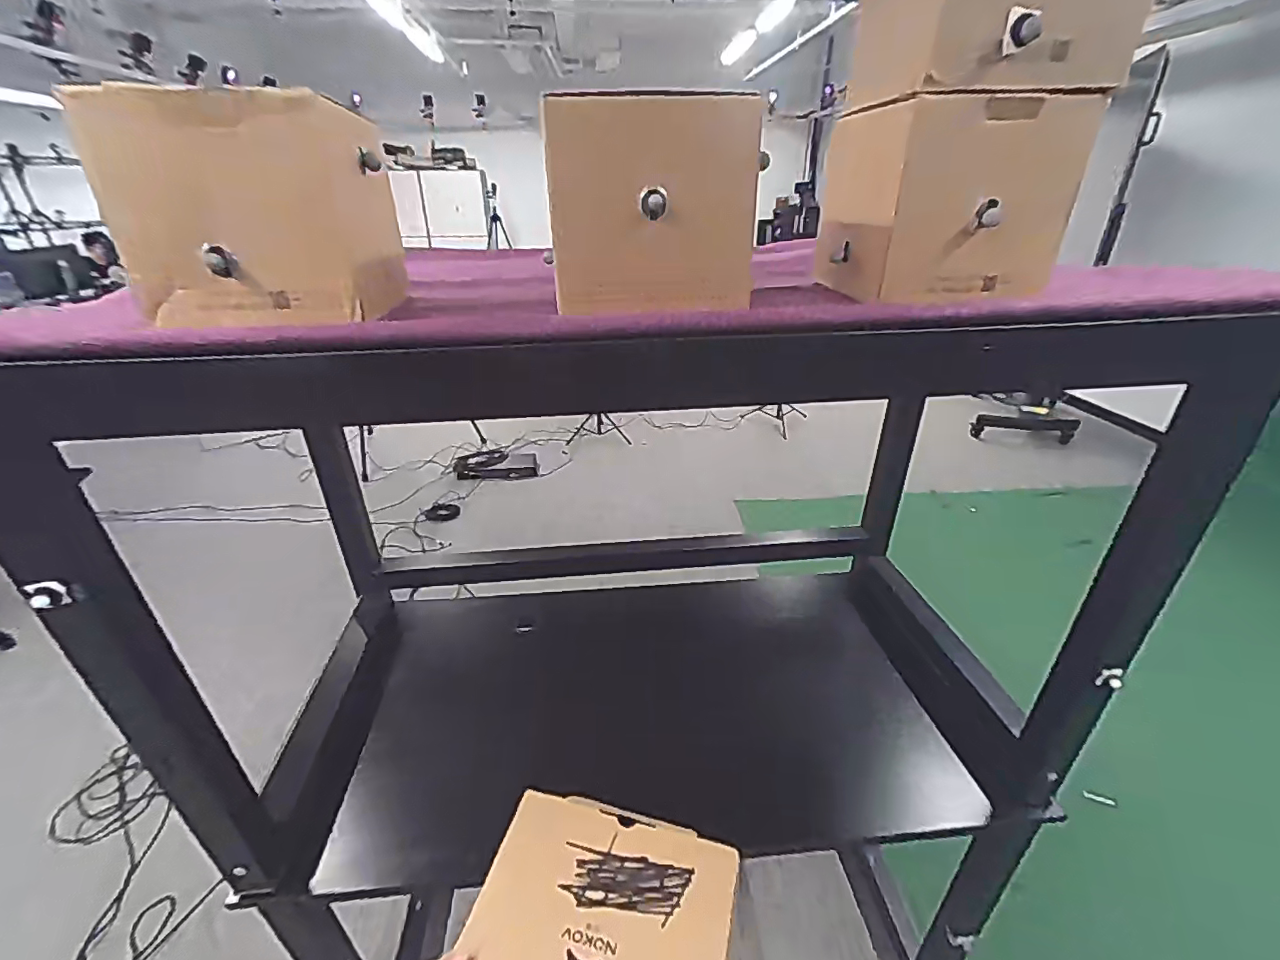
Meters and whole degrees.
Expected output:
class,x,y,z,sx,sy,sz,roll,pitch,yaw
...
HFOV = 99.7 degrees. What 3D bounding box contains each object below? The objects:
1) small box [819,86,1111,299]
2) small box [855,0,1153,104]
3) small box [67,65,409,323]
class,x,y,z,sx,sy,sz,roll,pitch,yaw
small box,0.296,-0.280,0.542,0.168,0.176,0.179,-3,29,-3
small box,0.303,-0.424,0.463,0.168,0.176,0.179,-3,29,0
small box,-0.317,-0.241,0.479,0.168,0.176,0.179,-4,27,-8
